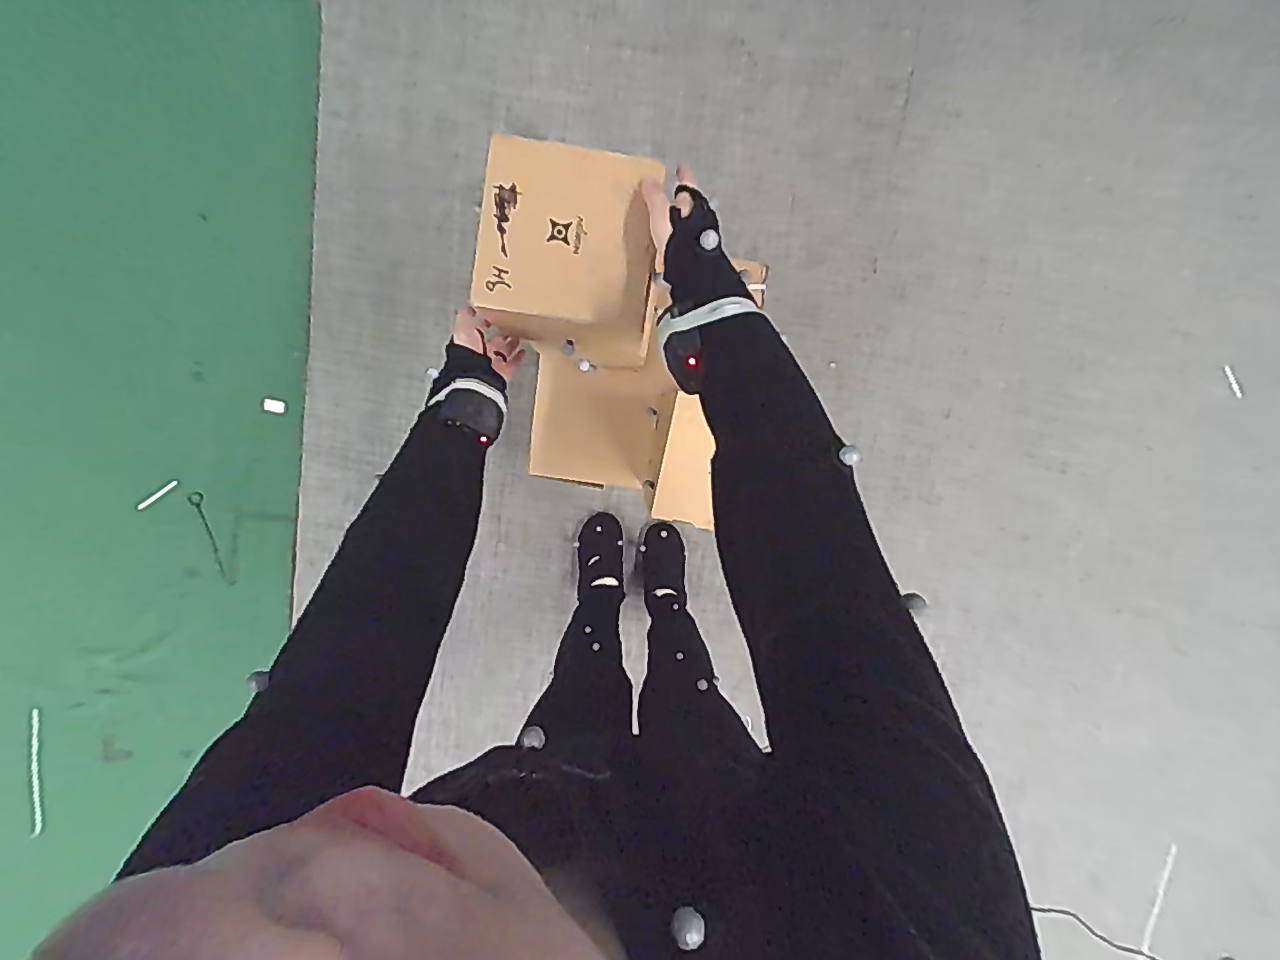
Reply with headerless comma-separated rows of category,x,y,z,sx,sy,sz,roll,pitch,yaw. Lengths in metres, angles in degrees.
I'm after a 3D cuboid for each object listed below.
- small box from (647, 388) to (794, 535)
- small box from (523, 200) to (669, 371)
small box,0.108,-0.032,0.809,0.168,0.176,0.179,11,96,-4
small box,-0.060,-0.264,0.776,0.168,0.176,0.179,10,95,-2
